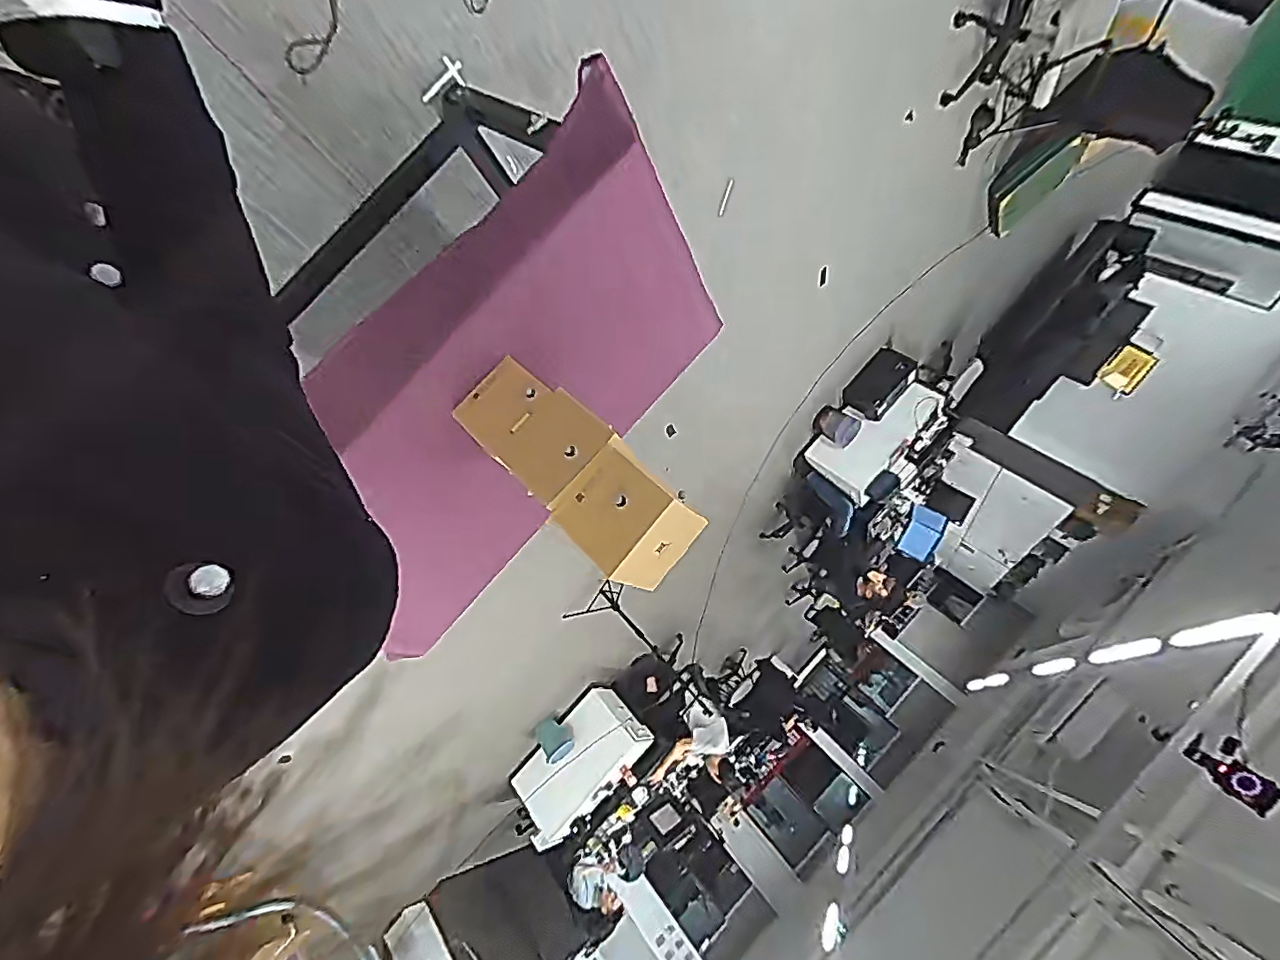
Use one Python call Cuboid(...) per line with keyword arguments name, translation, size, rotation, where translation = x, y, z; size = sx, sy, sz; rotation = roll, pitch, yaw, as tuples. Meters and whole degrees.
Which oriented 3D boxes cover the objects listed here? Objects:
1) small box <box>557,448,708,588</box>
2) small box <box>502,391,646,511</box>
Cuboid(name="small box", translation=(-0.014, 0.065, 0.952), size=(0.168, 0.176, 0.179), rotation=(-52, 151, 3))
Cuboid(name="small box", translation=(-0.123, -0.036, 1.020), size=(0.179, 0.176, 0.168), rotation=(-47, 149, -4))
